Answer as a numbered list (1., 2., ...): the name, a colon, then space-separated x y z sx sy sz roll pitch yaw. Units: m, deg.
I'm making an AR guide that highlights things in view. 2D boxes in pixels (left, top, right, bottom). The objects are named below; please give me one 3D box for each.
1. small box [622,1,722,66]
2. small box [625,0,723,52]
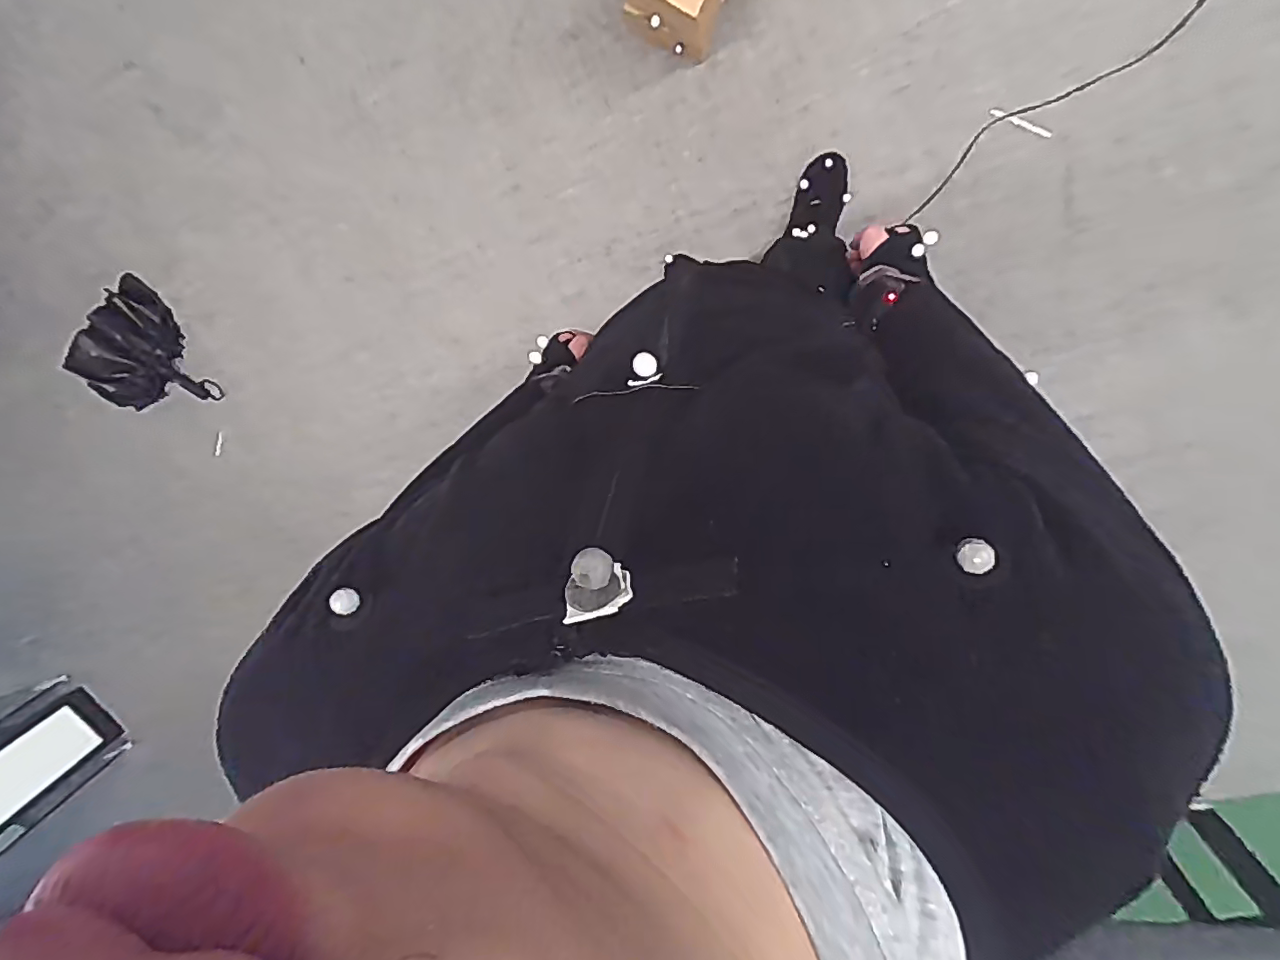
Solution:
1. small box: 0.078 -0.995 1.111 0.168 0.176 0.179 21 114 -1
2. small box: 0.071 -0.921 0.963 0.168 0.176 0.179 28 116 -4
